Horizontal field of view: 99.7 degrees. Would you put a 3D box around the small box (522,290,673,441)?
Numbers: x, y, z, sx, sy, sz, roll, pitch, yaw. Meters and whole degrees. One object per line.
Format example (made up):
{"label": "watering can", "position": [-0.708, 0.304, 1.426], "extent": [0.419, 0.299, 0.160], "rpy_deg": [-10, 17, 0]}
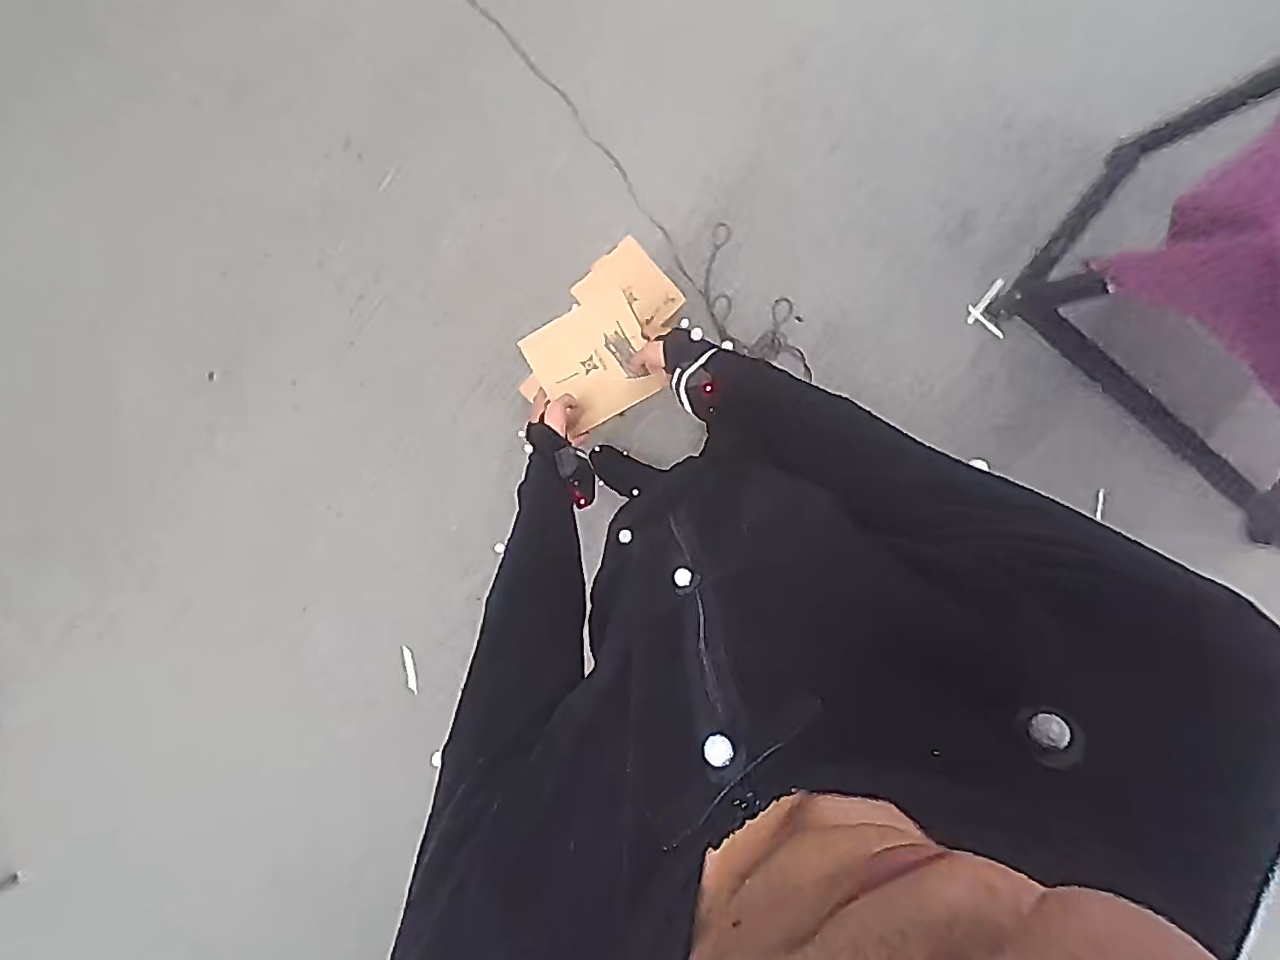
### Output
{"label": "small box", "position": [-0.062, -0.182, 0.877], "extent": [0.179, 0.176, 0.168], "rpy_deg": [-28, 97, 7]}

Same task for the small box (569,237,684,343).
{"label": "small box", "position": [-0.028, -0.375, 1.161], "extent": [0.168, 0.176, 0.179], "rpy_deg": [-42, 96, 4]}

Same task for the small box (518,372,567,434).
{"label": "small box", "position": [-0.208, -0.244, 1.500], "extent": [0.179, 0.176, 0.168], "rpy_deg": [43, 95, -7]}
